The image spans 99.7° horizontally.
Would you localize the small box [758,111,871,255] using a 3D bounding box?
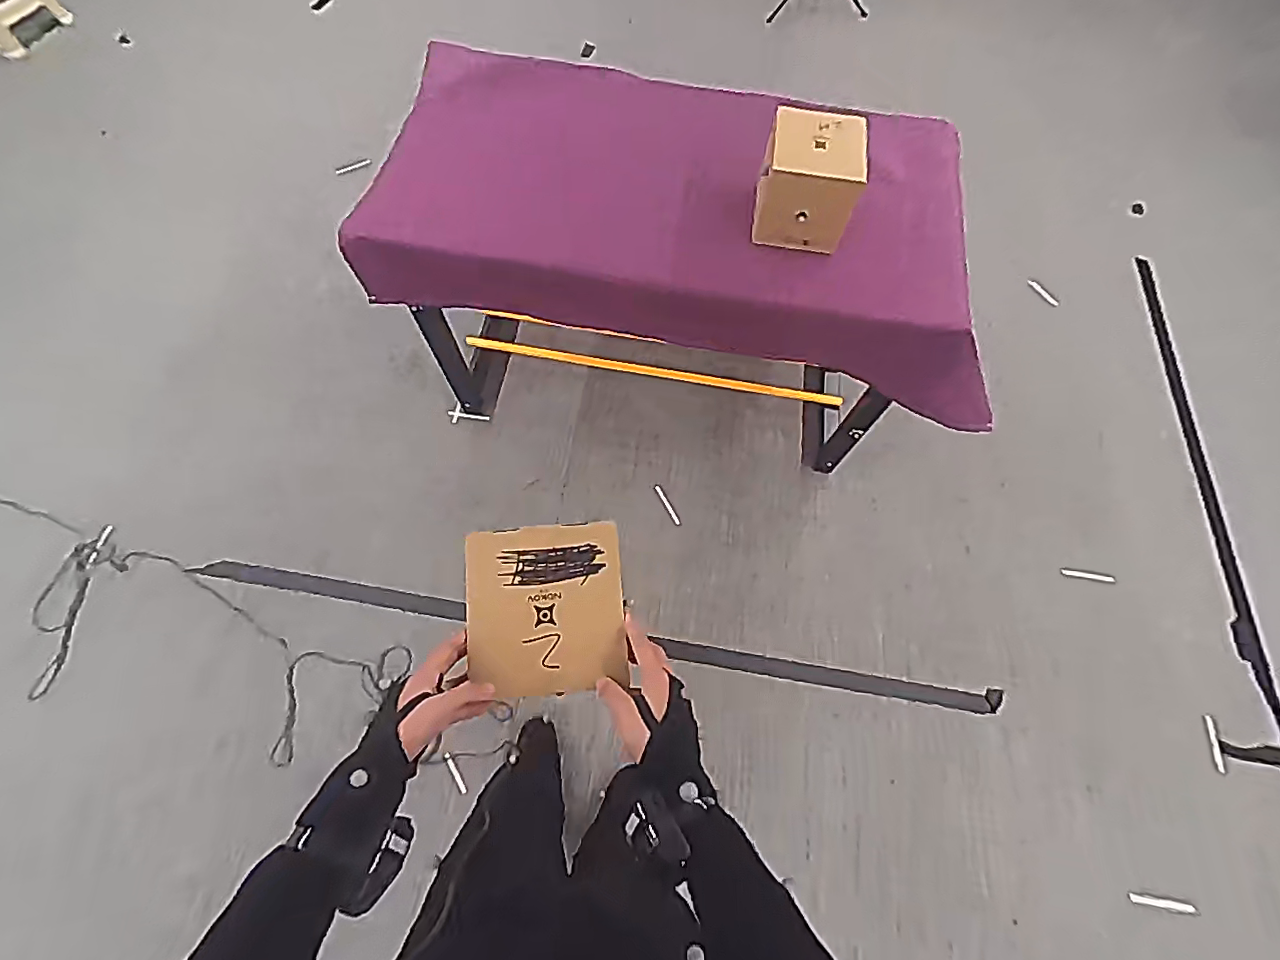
[{"bbox_3d":[0.332,-0.567,1.048,0.168,0.176,0.179,10,67,2],"label":"small box"}]
